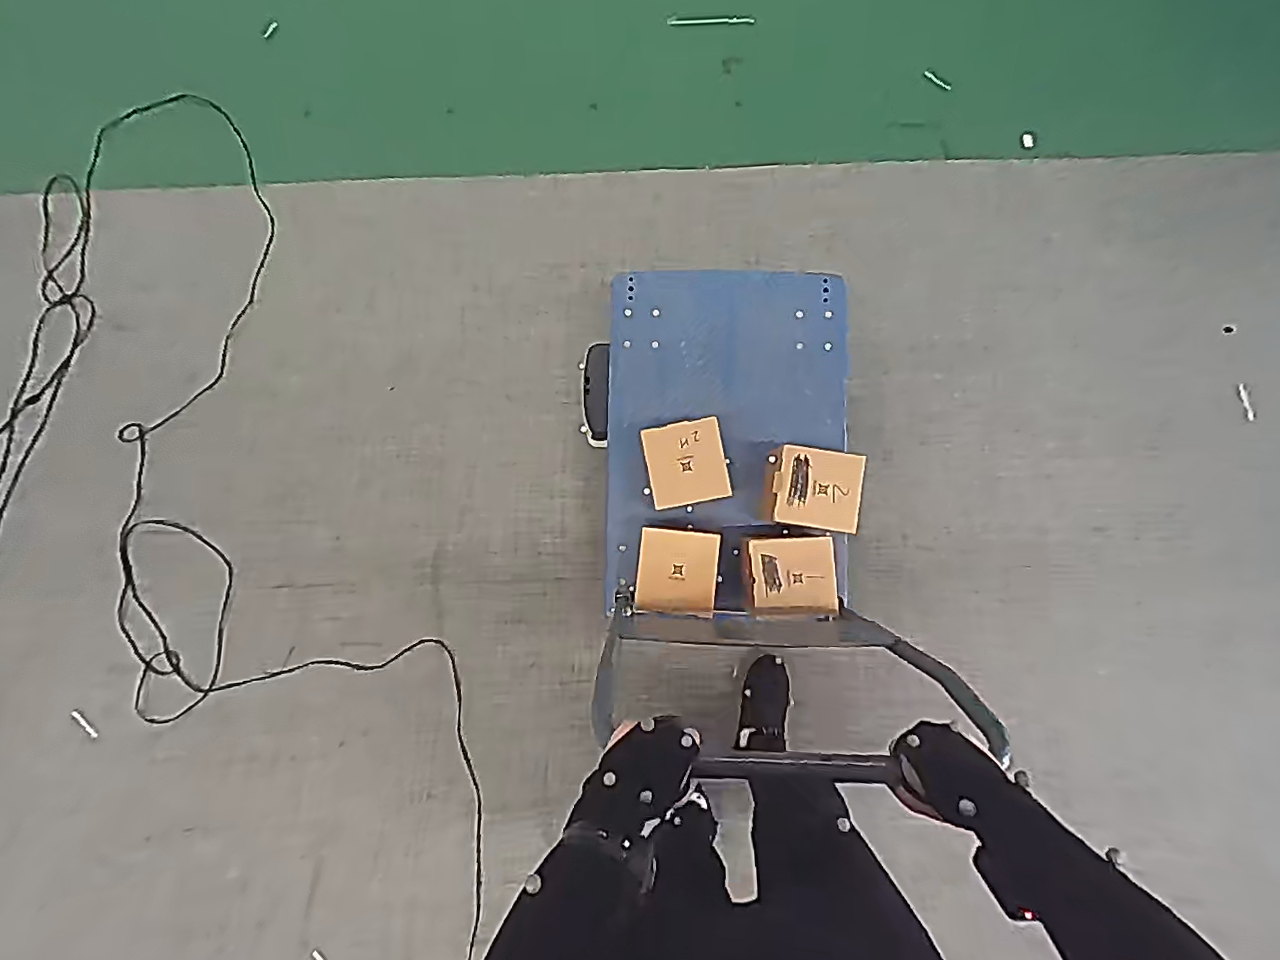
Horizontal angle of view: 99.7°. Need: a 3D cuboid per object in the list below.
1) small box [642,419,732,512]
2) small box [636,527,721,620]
[{"bbox_3d":[0.101,-0.026,1.216,0.168,0.176,0.179,-10,85,0],"label":"small box"},{"bbox_3d":[0.080,0.200,1.201,0.168,0.176,0.179,6,86,1],"label":"small box"}]
